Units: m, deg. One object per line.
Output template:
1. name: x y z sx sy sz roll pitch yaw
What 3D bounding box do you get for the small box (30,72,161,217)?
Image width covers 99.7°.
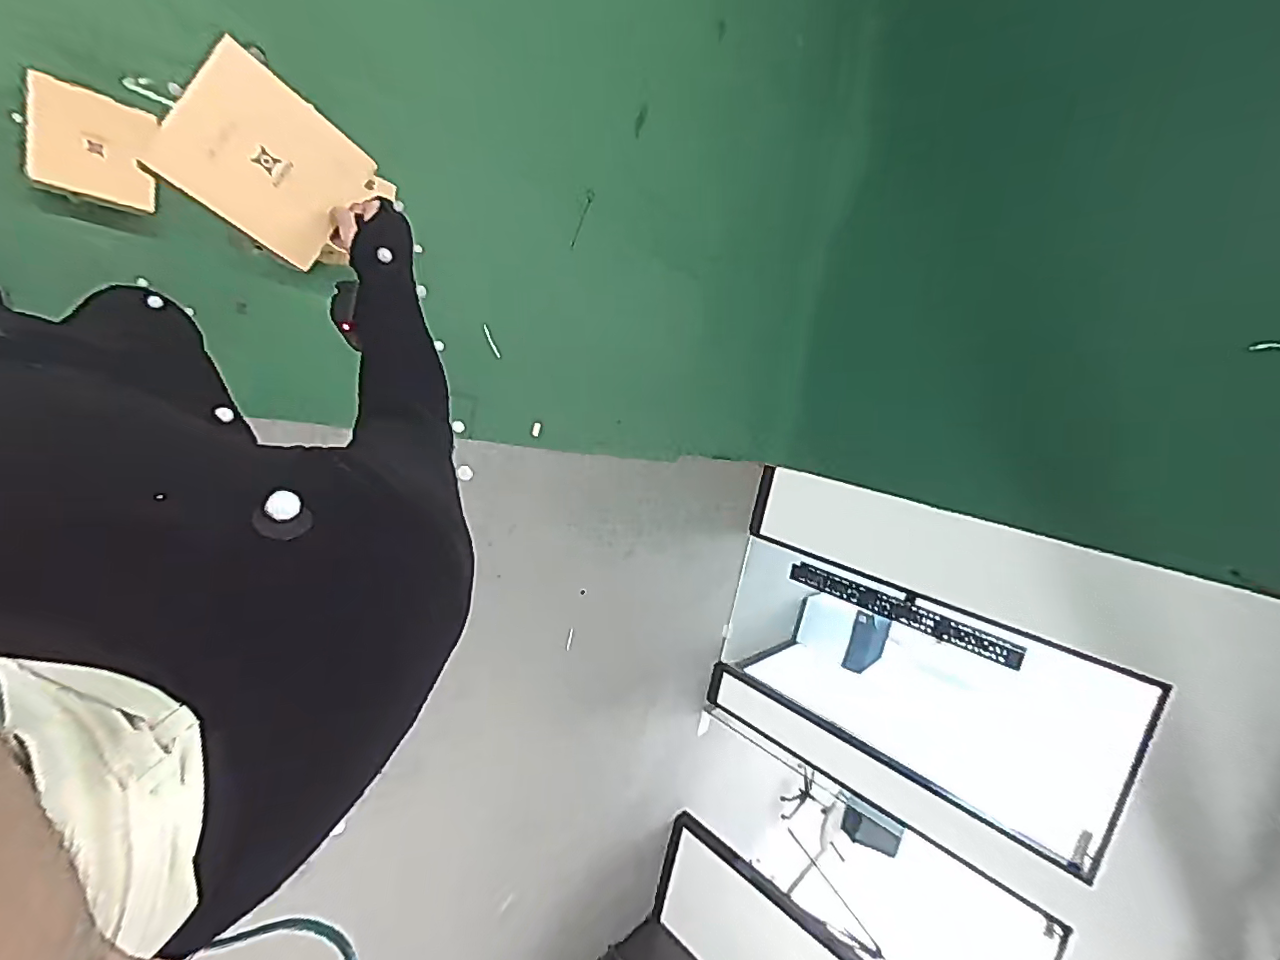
1. small box: -1.034 -0.619 1.027 0.168 0.176 0.179 0 104 -48

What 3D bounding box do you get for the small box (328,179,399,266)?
1. small box: -0.665 -0.592 1.196 0.168 0.176 0.179 5 103 -50

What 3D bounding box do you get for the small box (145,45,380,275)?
1. small box: -0.473 -0.390 0.681 0.179 0.176 0.168 35 85 -46
